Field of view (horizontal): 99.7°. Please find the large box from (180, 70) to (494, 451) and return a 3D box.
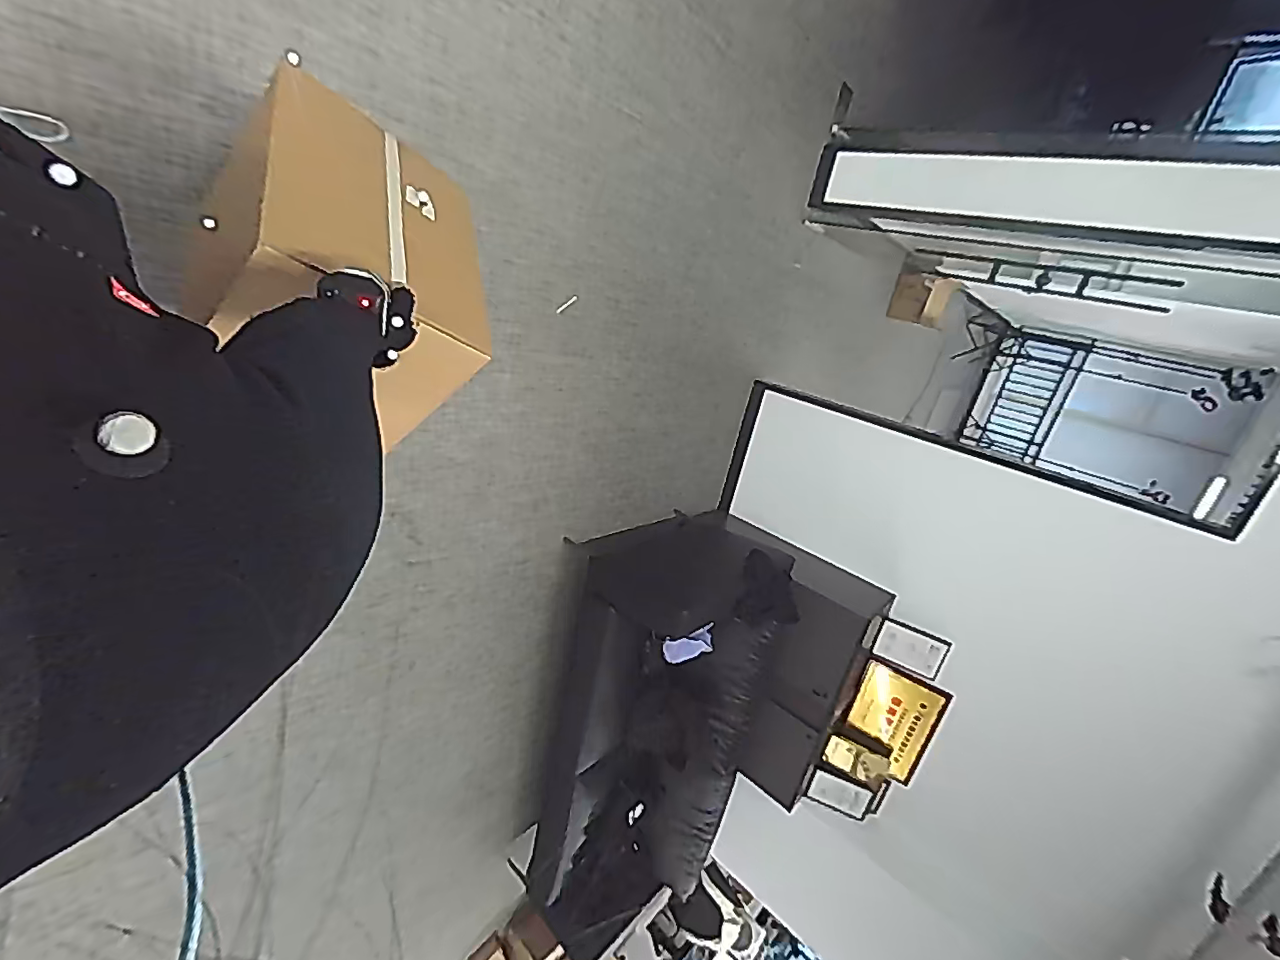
[{"bbox_3d":[-0.477,-0.314,0.865,0.320,0.408,0.320,-32,149,27],"label":"large box"}]
